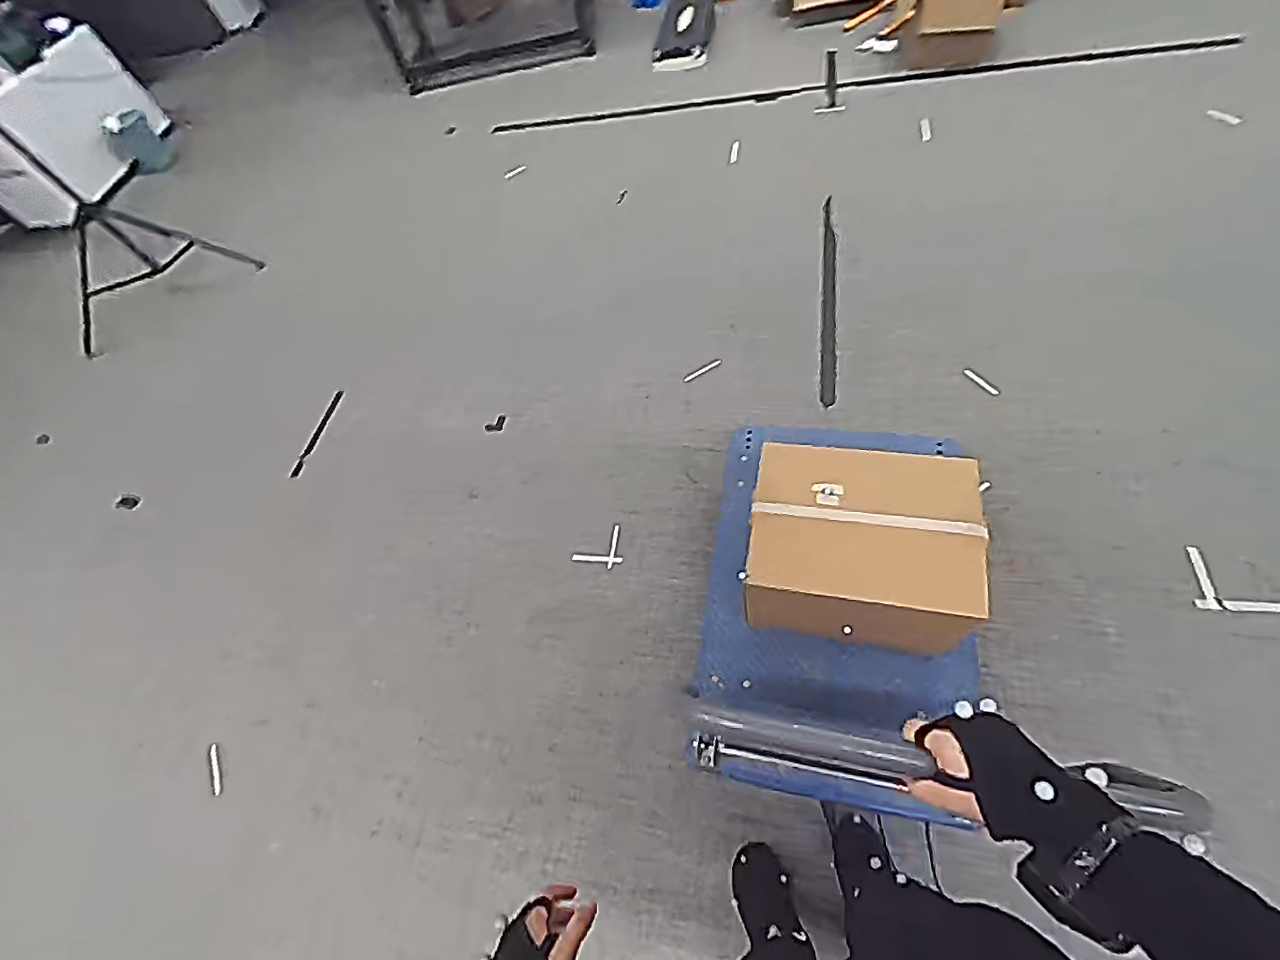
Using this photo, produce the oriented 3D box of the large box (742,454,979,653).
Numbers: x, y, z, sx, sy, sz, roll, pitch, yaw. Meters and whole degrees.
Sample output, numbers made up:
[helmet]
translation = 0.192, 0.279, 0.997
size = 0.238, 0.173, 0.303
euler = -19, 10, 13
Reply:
[large box]
translation = 0.443, 0.161, 1.159
size = 0.408, 0.320, 0.320
euler = 5, 61, 16
